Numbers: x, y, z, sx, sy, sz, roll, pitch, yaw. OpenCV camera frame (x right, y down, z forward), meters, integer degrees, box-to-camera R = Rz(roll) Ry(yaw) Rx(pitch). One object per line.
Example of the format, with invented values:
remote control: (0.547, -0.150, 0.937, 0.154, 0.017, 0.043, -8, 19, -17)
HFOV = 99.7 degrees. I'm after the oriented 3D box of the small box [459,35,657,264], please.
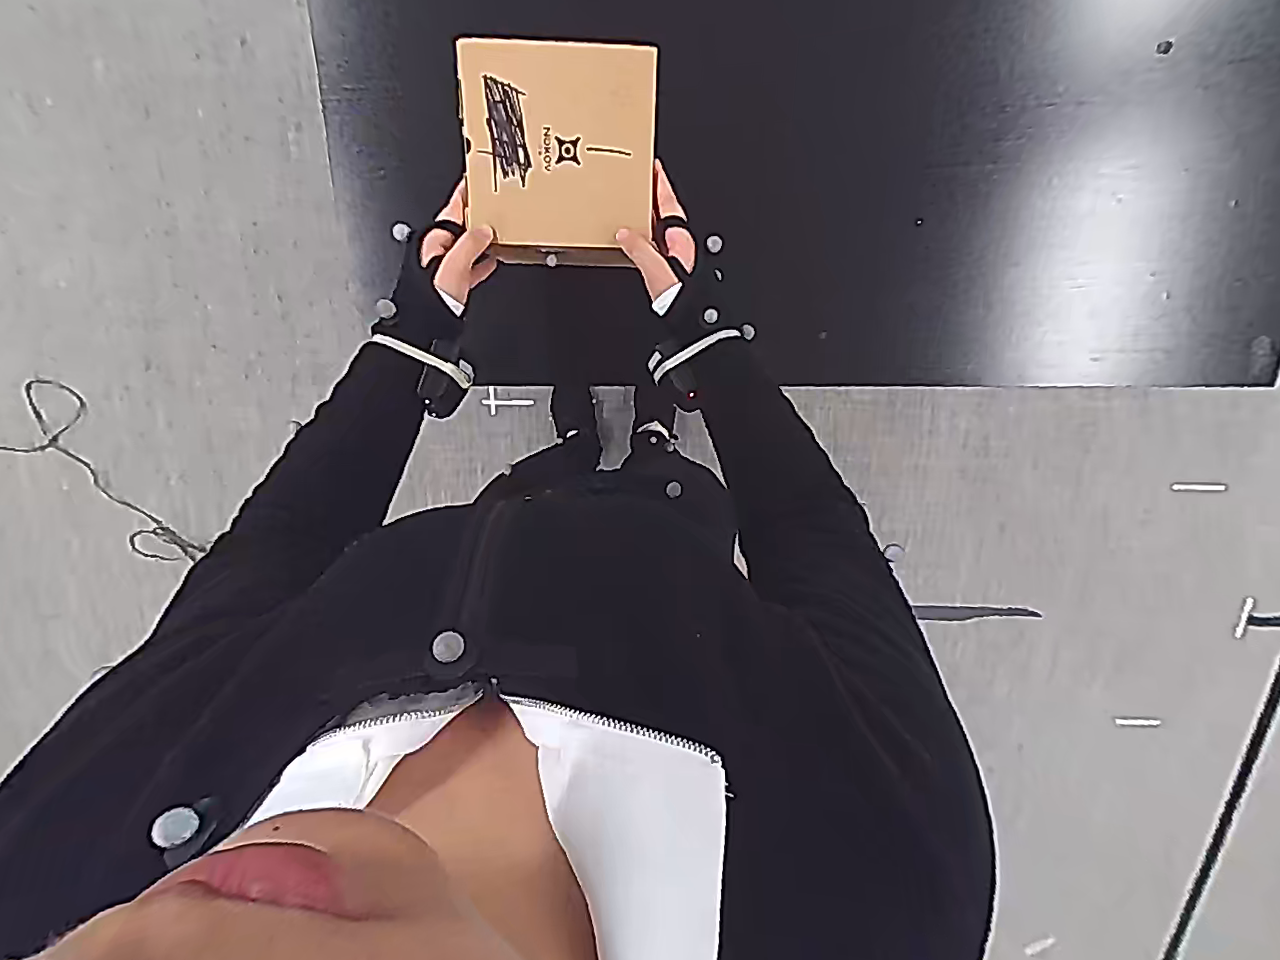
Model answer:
small box: (-0.076, -0.326, 0.569, 0.179, 0.176, 0.168, 1, 106, -2)
